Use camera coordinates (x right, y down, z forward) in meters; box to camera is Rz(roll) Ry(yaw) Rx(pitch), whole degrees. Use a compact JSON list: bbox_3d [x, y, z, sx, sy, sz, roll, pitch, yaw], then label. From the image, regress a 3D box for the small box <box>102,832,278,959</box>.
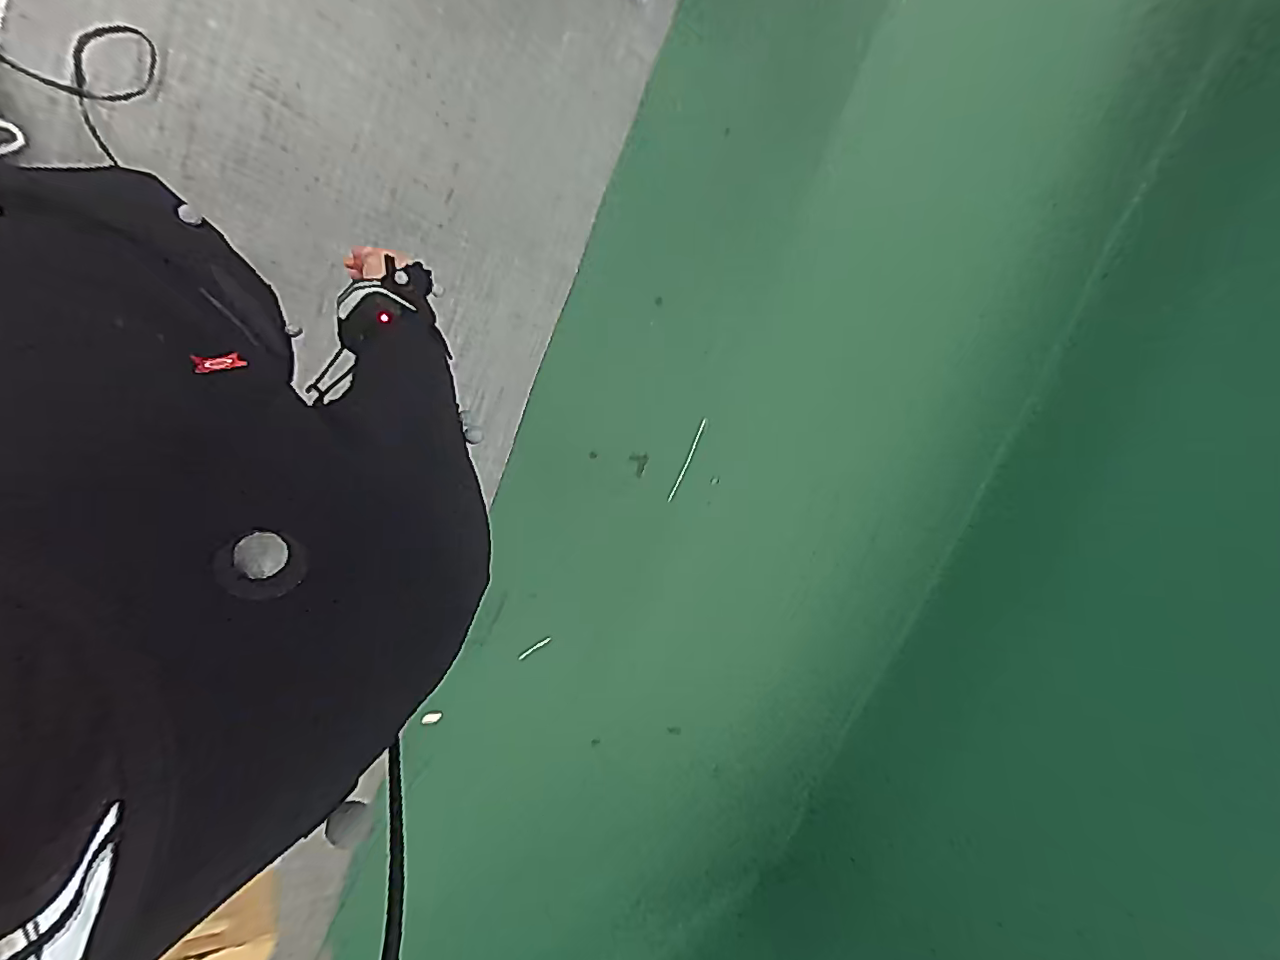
[{"bbox_3d":[-0.629,0.639,0.754,0.168,0.176,0.179,19,99,-40],"label":"small box"}]
